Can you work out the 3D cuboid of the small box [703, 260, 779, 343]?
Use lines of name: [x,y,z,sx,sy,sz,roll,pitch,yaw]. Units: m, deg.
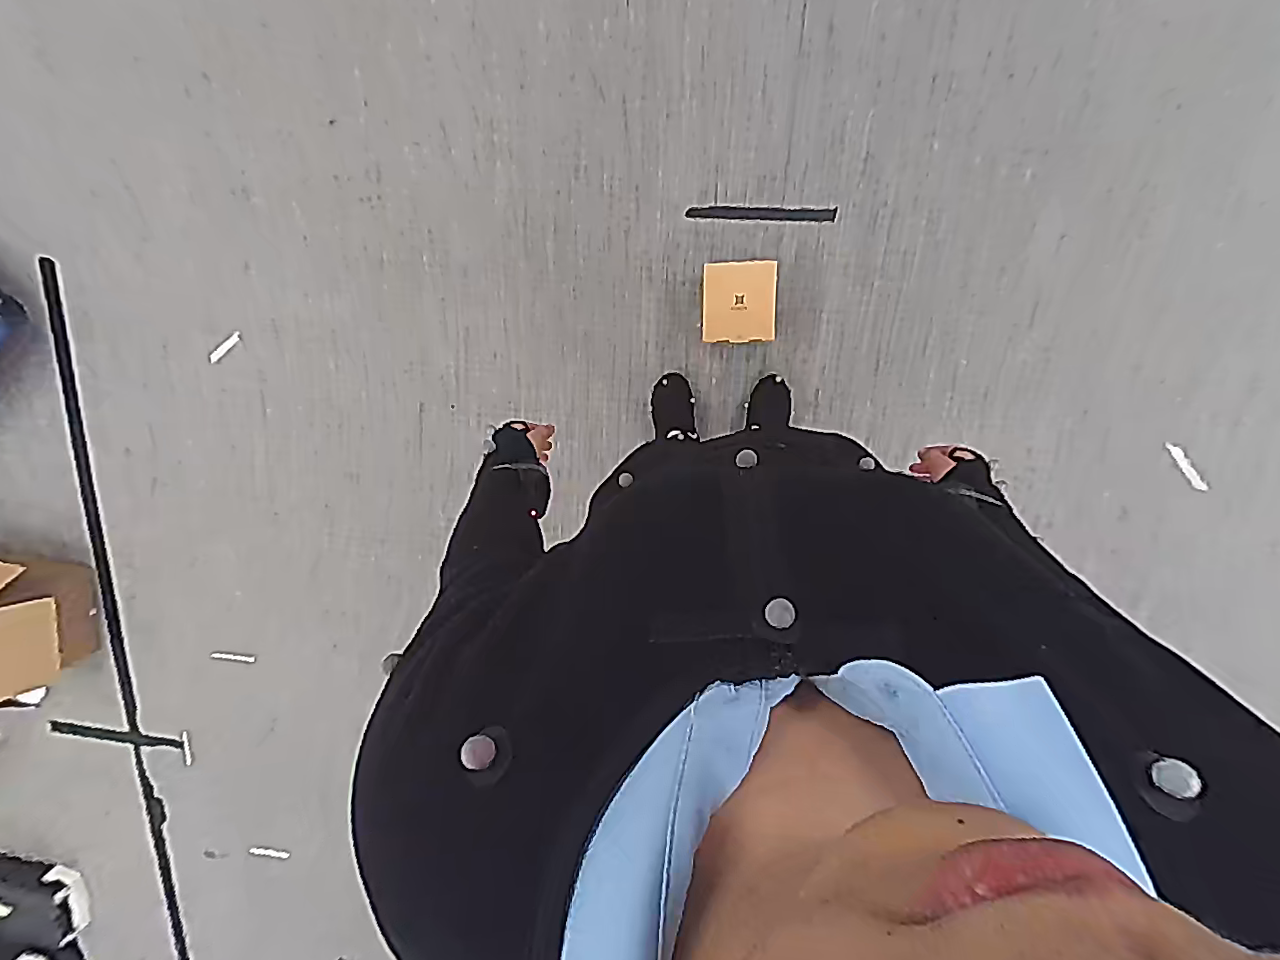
small box: [0.237,-0.424,1.304,0.168,0.176,0.179,0,104,6]
